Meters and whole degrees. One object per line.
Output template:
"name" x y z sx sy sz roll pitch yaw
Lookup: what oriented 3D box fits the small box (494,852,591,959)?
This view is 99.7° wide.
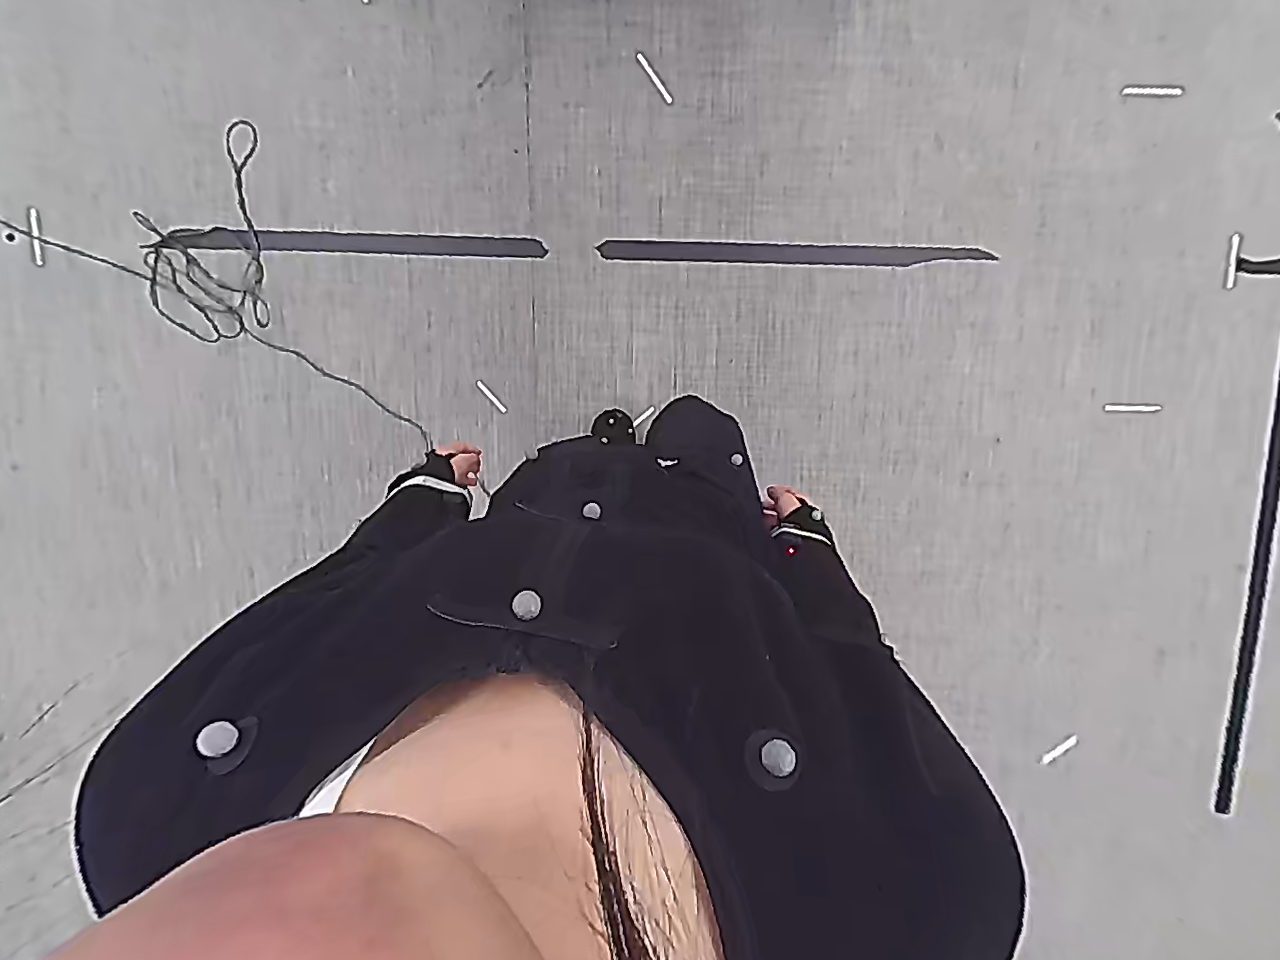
"small box" -0.186 0.855 1.034 0.168 0.176 0.179 5 97 -1
